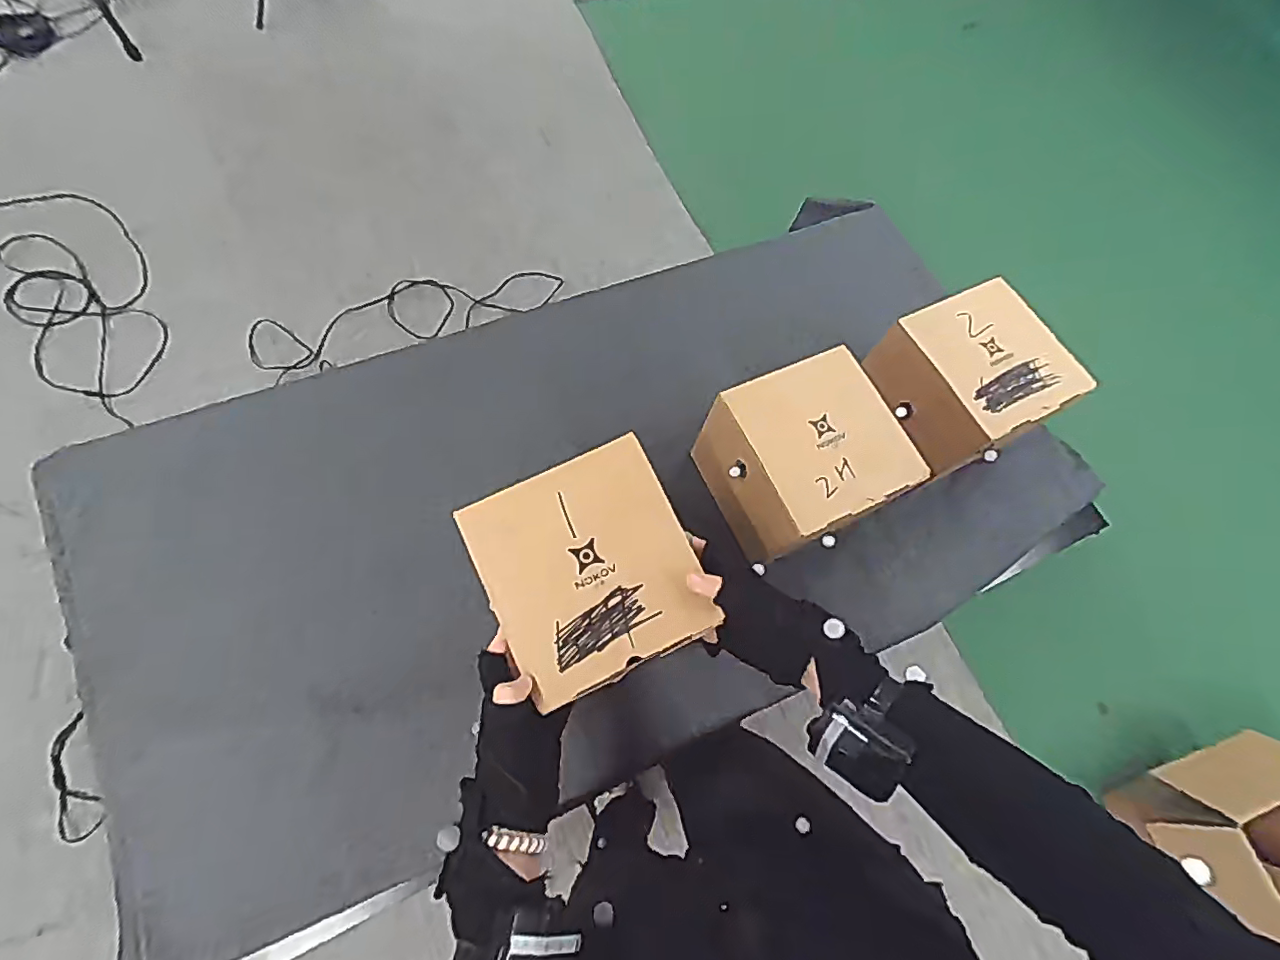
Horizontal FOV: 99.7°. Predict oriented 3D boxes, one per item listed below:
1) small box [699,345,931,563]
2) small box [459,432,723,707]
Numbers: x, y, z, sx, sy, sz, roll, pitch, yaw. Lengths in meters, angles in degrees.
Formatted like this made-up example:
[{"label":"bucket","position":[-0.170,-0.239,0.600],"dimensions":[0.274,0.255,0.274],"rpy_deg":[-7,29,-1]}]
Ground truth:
[{"label":"small box","position":[0.187,-0.022,0.641],"dimensions":[0.168,0.176,0.179],"rpy_deg":[-23,74,-12]},{"label":"small box","position":[-0.044,0.081,0.515],"dimensions":[0.168,0.176,0.179],"rpy_deg":[-25,81,-9]}]
